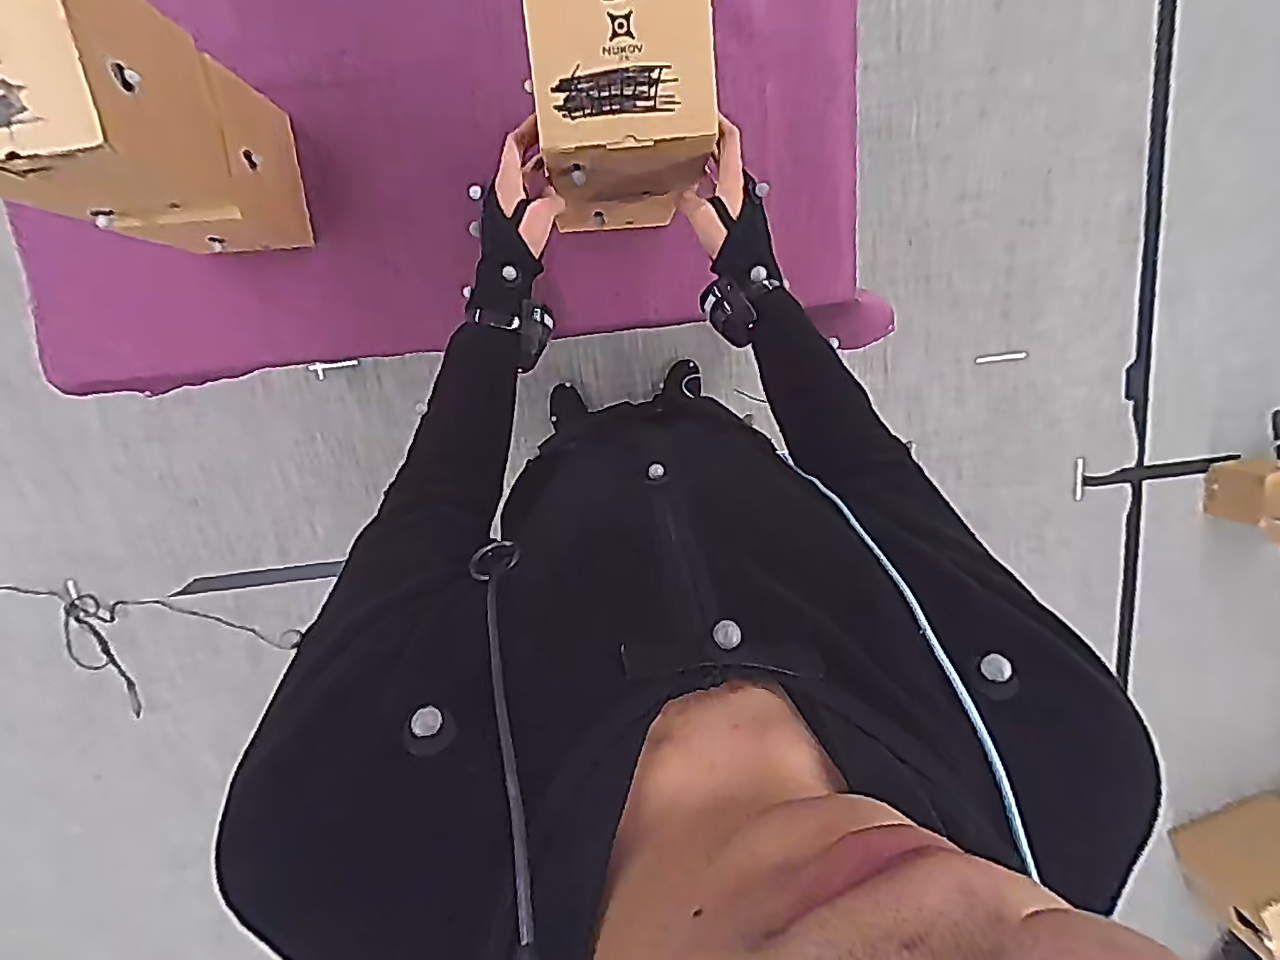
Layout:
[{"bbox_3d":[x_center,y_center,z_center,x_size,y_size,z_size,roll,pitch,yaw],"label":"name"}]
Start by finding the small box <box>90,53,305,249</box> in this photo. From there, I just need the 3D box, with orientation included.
[{"bbox_3d":[-0.562,-0.399,0.689,0.168,0.176,0.179,-5,103,-3],"label":"small box"}]

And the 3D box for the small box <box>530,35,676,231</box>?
[{"bbox_3d":[-0.044,-0.439,0.715,0.168,0.176,0.179,-5,102,-2],"label":"small box"}]

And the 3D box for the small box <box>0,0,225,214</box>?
[{"bbox_3d":[-0.557,-0.374,0.526,0.168,0.176,0.179,-9,102,-2],"label":"small box"}]
